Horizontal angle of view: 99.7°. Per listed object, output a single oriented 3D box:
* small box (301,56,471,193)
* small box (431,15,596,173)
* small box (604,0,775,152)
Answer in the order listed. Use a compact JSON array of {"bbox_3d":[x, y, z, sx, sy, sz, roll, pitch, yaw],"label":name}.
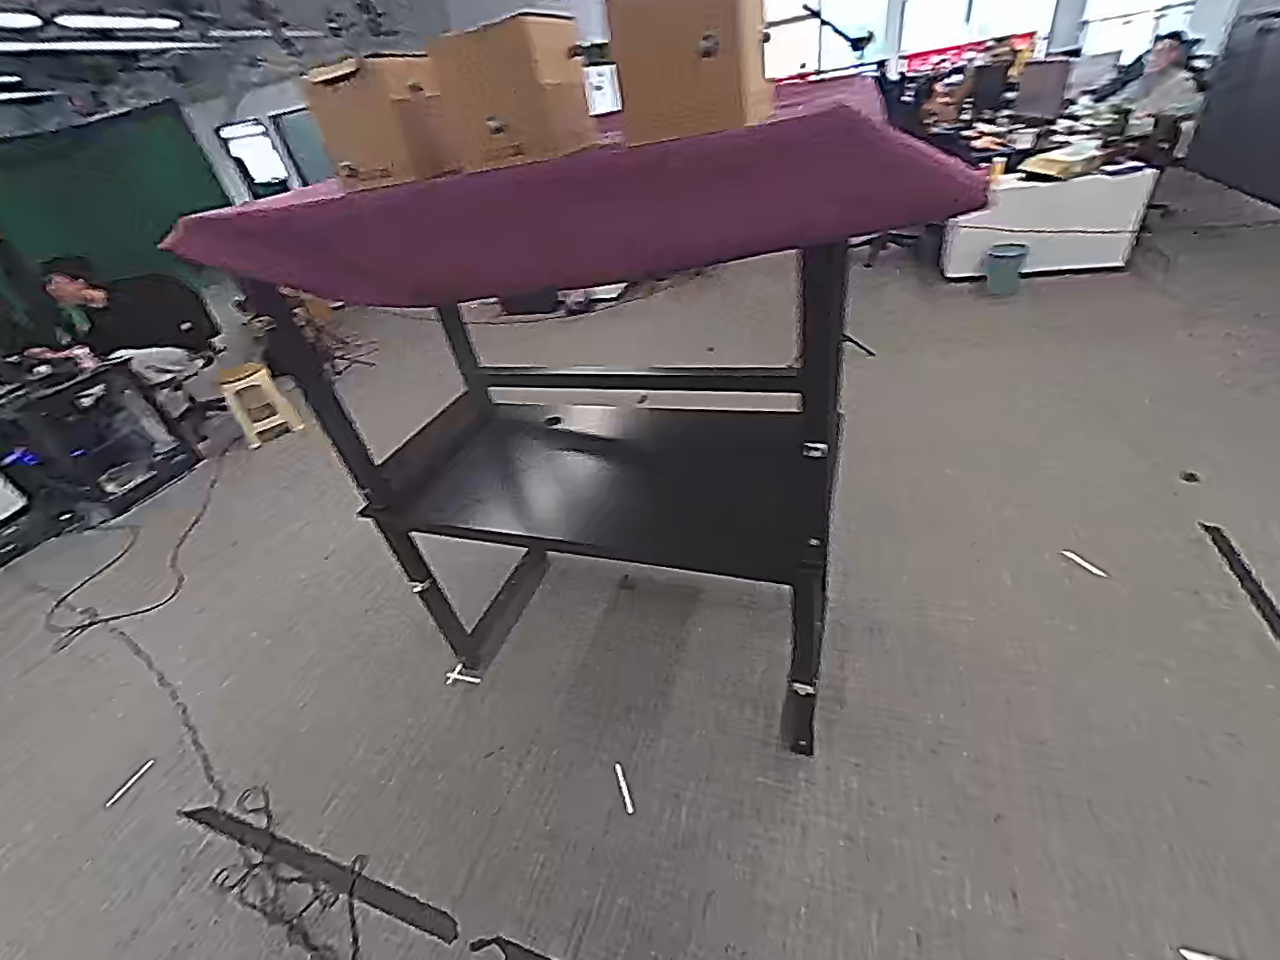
[{"bbox_3d":[-0.419,-0.603,0.927,0.168,0.176,0.179,3,37,19],"label":"small box"},{"bbox_3d":[-0.178,-0.583,0.830,0.168,0.176,0.179,3,38,20],"label":"small box"},{"bbox_3d":[0.078,-0.554,0.717,0.179,0.176,0.168,5,37,24],"label":"small box"}]
